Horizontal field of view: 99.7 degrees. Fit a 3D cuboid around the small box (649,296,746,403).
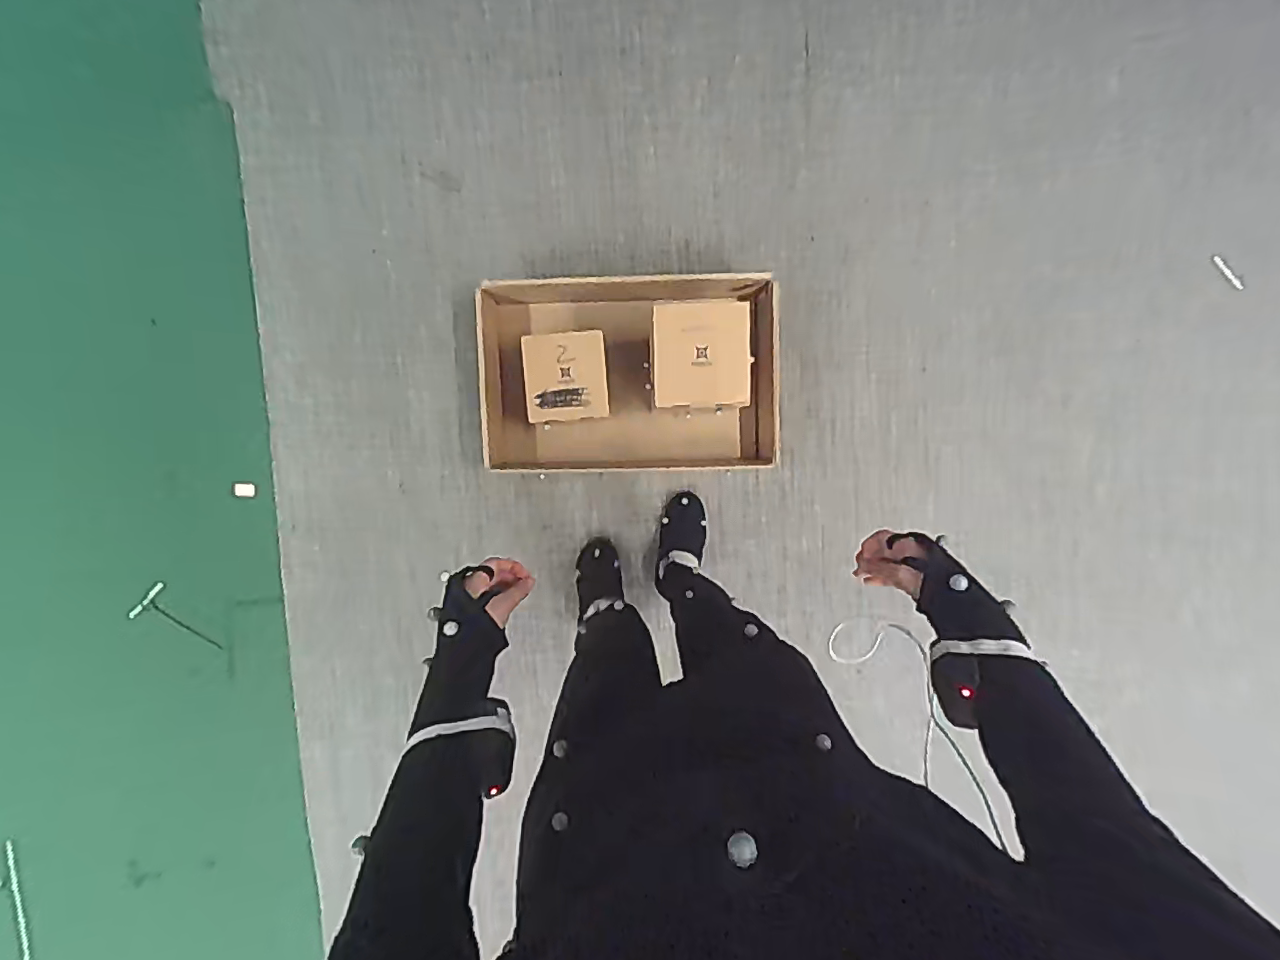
[{"bbox_3d":[0.100,-0.233,1.002,0.168,0.176,0.179,-1,95,1],"label":"small box"}]
